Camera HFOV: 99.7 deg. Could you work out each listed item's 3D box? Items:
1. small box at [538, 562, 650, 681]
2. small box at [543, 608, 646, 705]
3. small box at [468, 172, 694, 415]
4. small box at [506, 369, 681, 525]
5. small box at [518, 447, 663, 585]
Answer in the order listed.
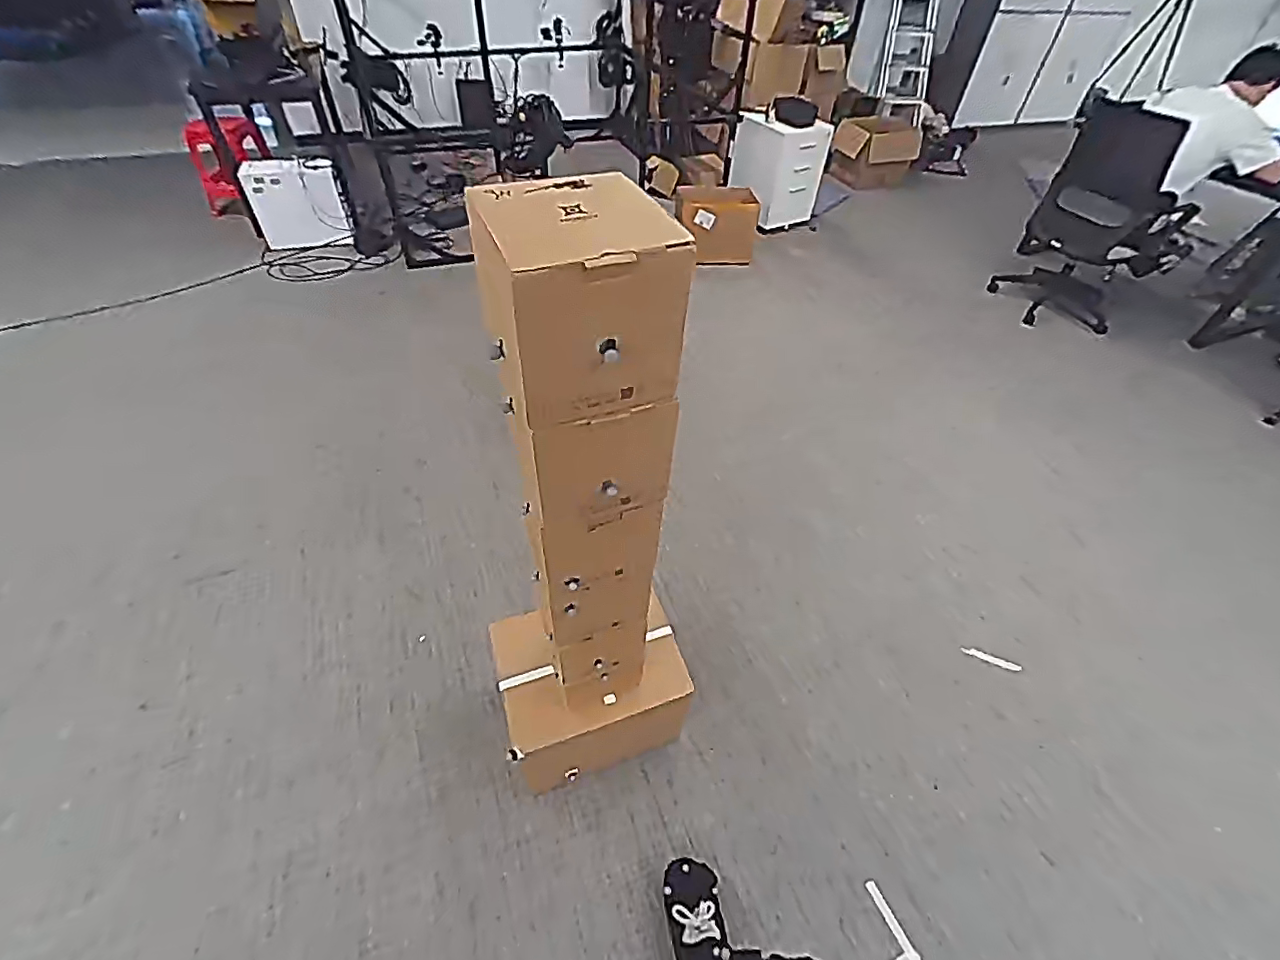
[{"bbox_3d":[-0.092,0.253,1.040,0.168,0.176,0.179,-15,51,-16],"label":"small box"},{"bbox_3d":[-0.099,0.356,1.166,0.179,0.176,0.168,-15,51,-18],"label":"small box"},{"bbox_3d":[-0.062,-0.184,0.551,0.168,0.176,0.179,-16,52,-18],"label":"small box"},{"bbox_3d":[-0.065,-0.074,0.672,0.168,0.176,0.179,-16,52,-16],"label":"small box"},{"bbox_3d":[-0.074,0.035,0.795,0.168,0.176,0.179,-13,50,-15],"label":"small box"}]
